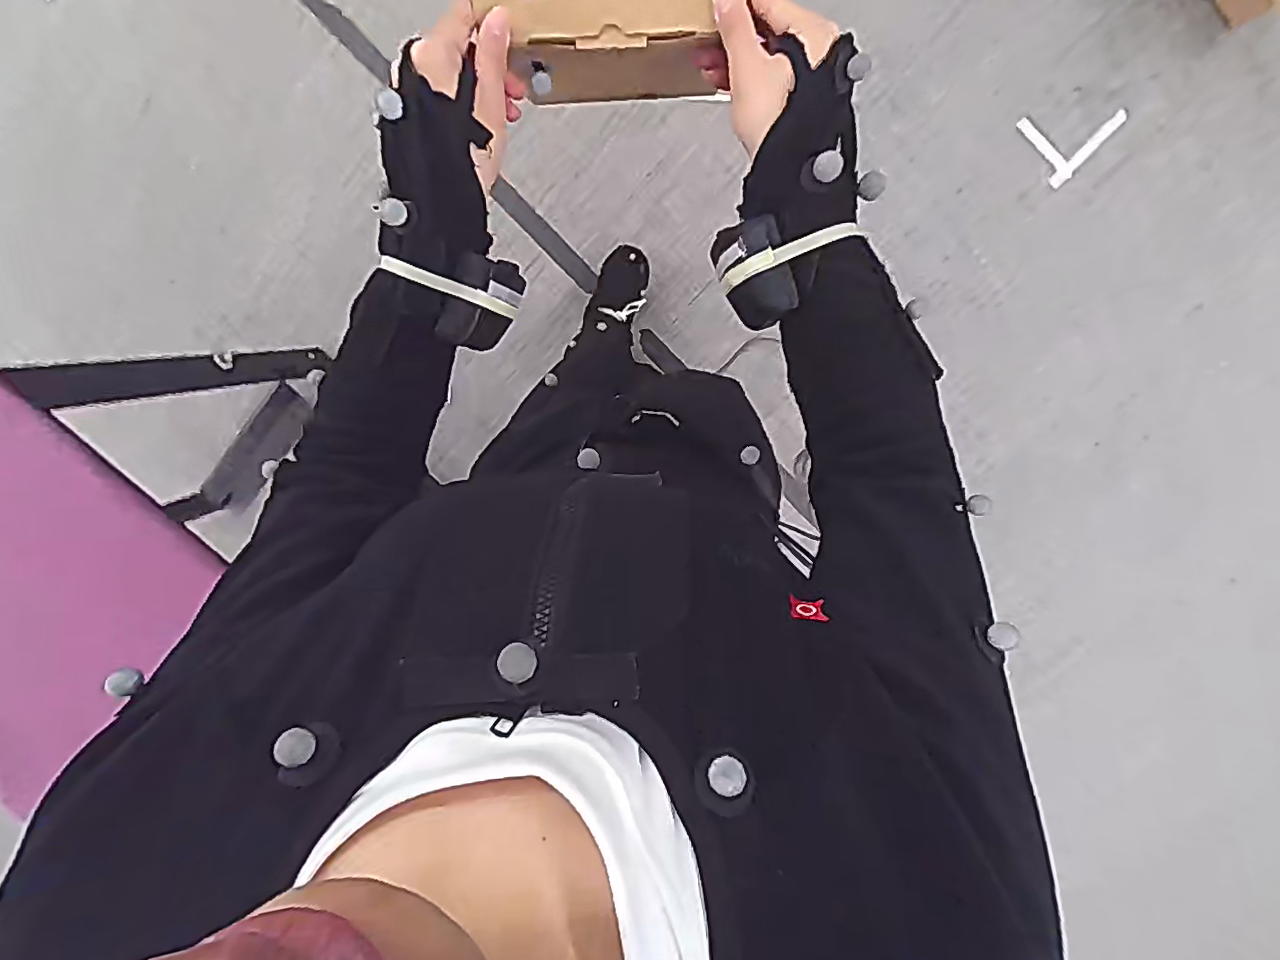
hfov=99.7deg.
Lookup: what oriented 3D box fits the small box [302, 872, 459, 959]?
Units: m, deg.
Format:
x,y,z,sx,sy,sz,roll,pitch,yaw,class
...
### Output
x,y,z,sx,sy,sz,roll,pitch,yaw,class
-0.386,0.716,0.771,0.179,0.176,0.168,-38,98,13,small box
